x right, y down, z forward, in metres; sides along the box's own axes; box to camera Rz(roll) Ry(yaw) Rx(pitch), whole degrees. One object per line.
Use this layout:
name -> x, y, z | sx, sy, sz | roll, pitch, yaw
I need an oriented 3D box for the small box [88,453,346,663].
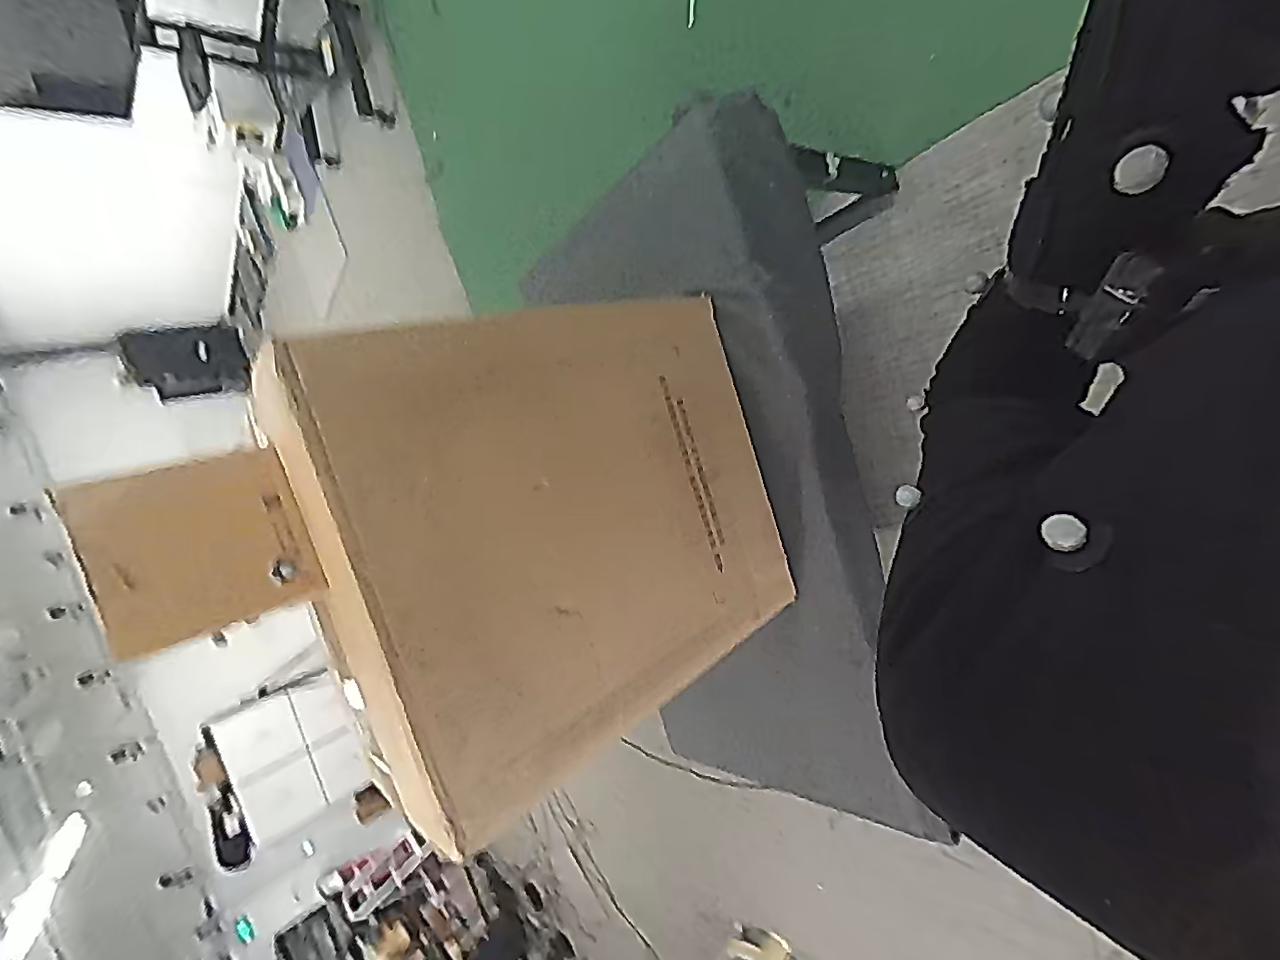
small box -> -0.445, 0.083, 0.591 | 0.179, 0.176, 0.168 | -23, 89, 50
